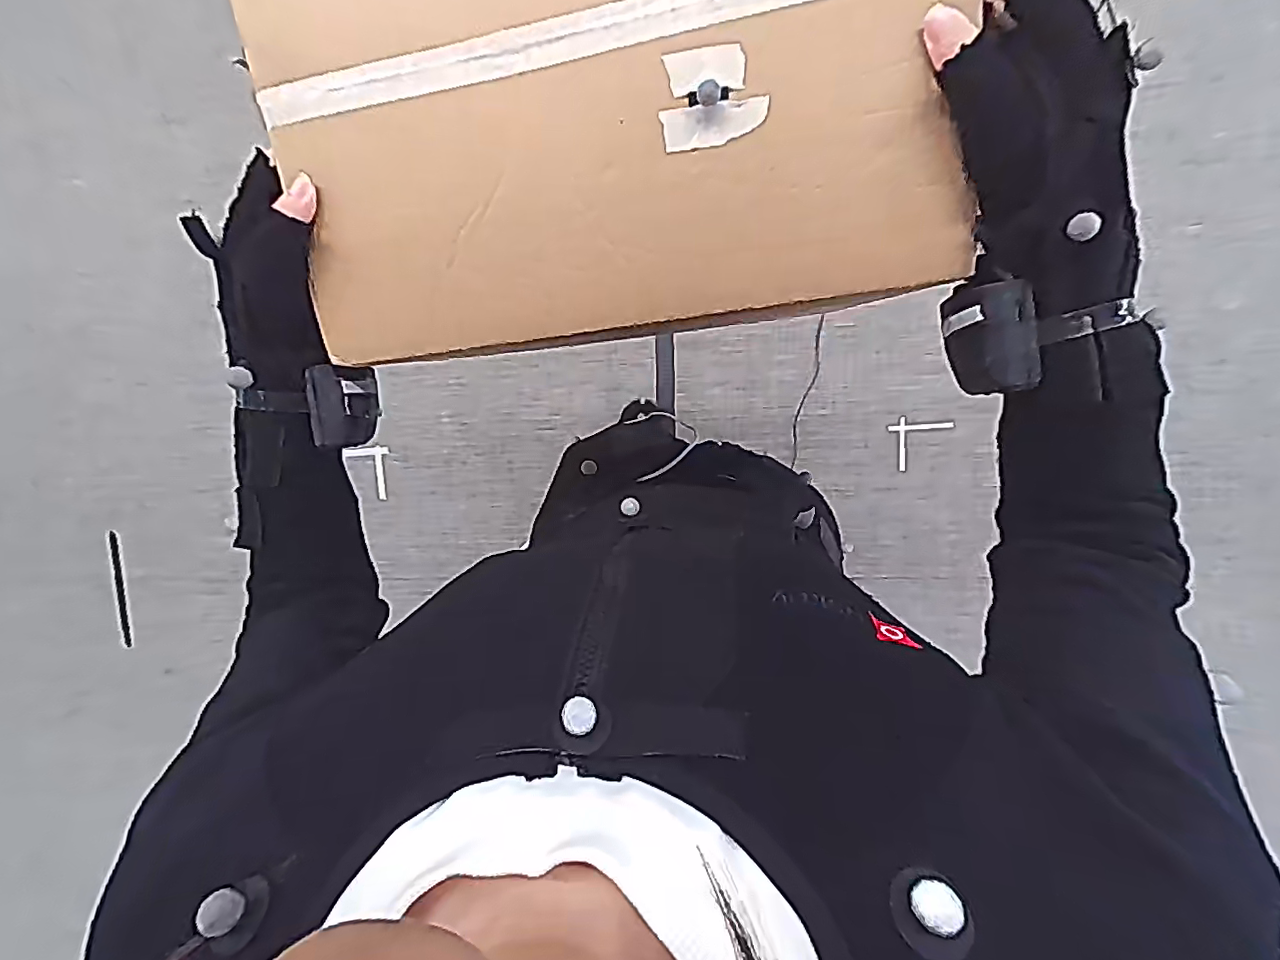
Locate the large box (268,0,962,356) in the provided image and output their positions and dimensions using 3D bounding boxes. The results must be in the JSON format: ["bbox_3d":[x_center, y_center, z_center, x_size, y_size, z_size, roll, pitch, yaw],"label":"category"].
[{"bbox_3d":[-0.009,-0.293,0.458,0.408,0.320,0.320,-6,104,9],"label":"large box"}]

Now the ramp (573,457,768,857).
[{"bbox_3d":[0.080,0.436,1.430,0.509,0.206,0.991,0,95,11],"label":"ramp"}]
